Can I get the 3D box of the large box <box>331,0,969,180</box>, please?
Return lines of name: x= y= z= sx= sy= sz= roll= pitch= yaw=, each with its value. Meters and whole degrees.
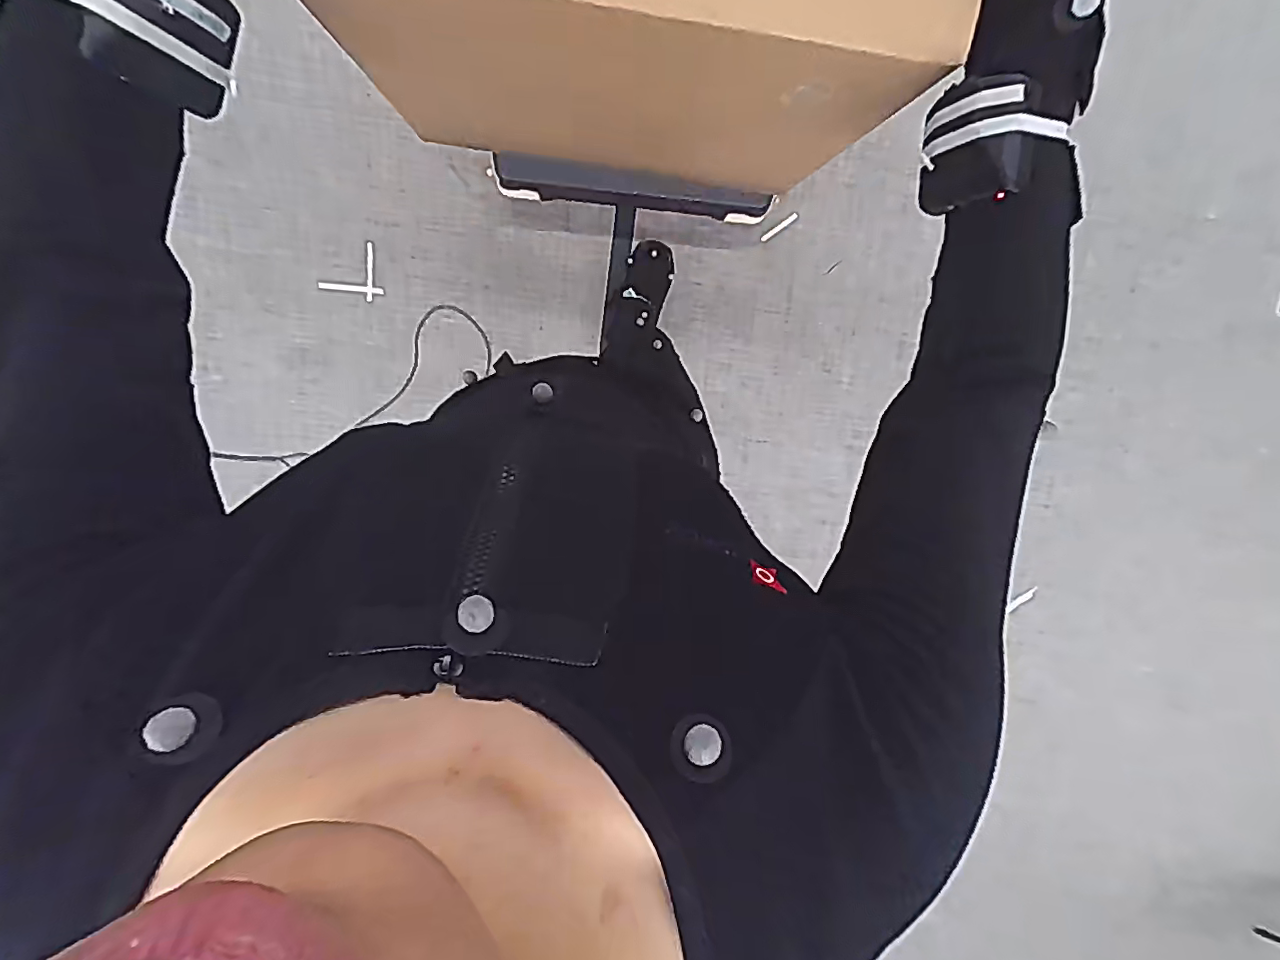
large box: x=-0.002 y=-0.461 z=0.418 sx=0.408 sy=0.320 sz=0.320 roll=4 pitch=105 yaw=-7
